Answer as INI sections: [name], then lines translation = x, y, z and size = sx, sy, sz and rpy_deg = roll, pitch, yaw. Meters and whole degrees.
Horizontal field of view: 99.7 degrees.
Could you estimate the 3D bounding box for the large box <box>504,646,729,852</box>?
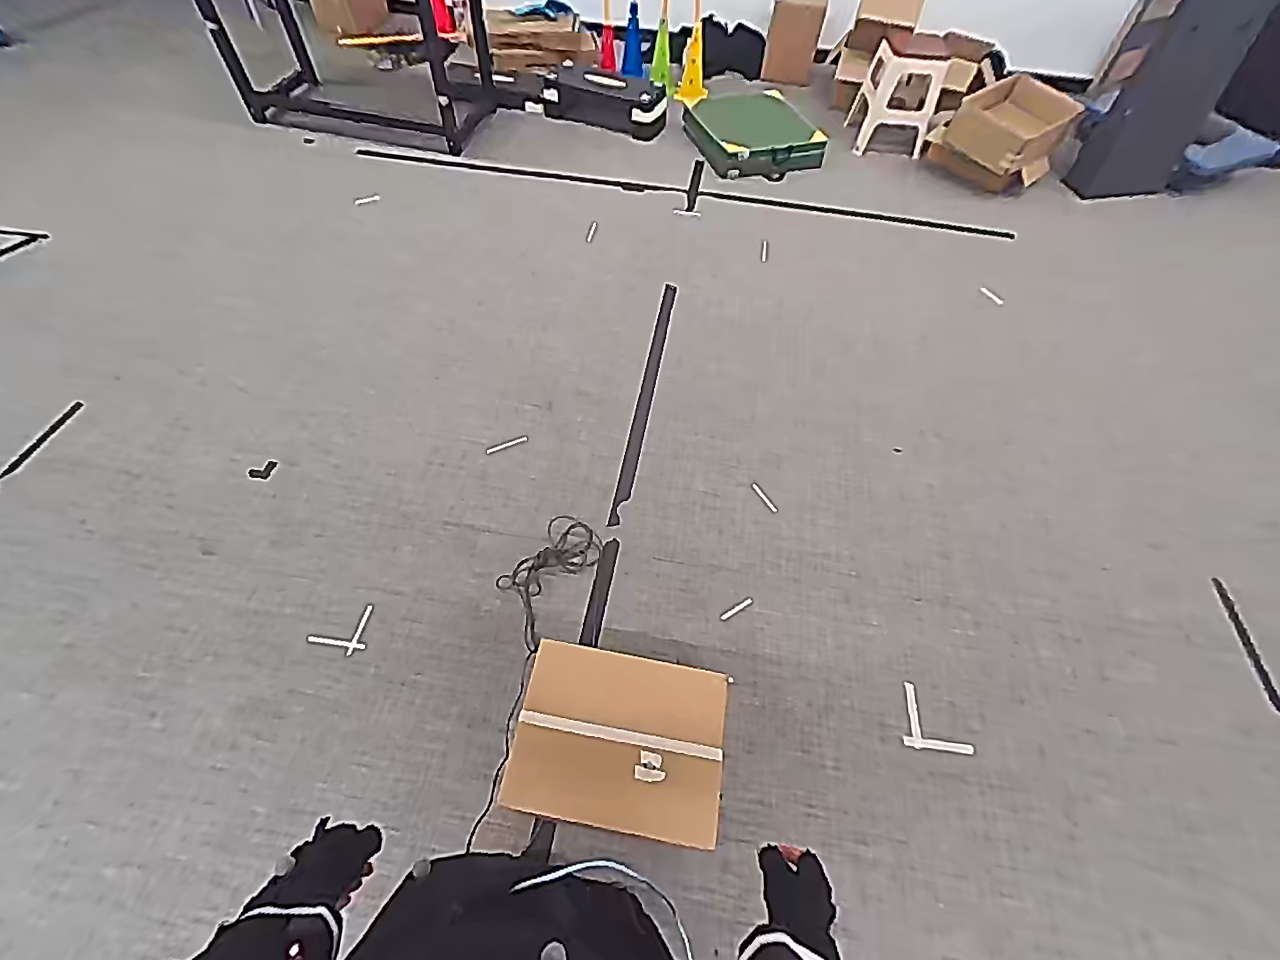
[large box]
translation = -0.045, 0.593, 1.183
size = 0.408, 0.320, 0.320
rpy_deg = 11, 56, 2
